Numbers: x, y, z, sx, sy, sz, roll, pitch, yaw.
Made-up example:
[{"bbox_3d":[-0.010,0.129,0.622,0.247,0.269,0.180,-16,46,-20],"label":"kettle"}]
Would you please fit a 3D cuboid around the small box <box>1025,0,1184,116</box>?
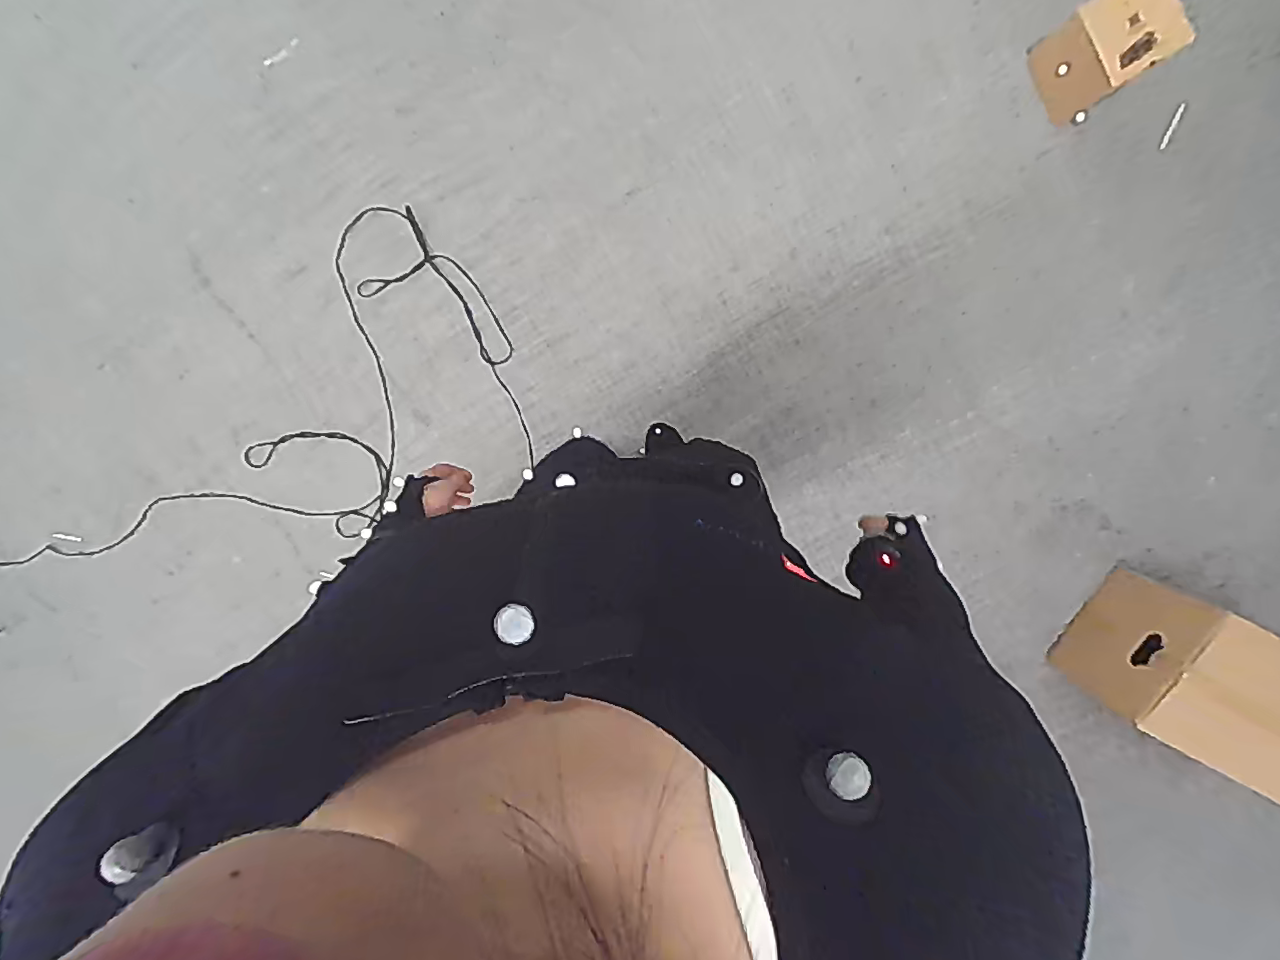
[{"bbox_3d":[0.981,-0.925,1.159,0.168,0.176,0.179,-29,97,9],"label":"small box"}]
